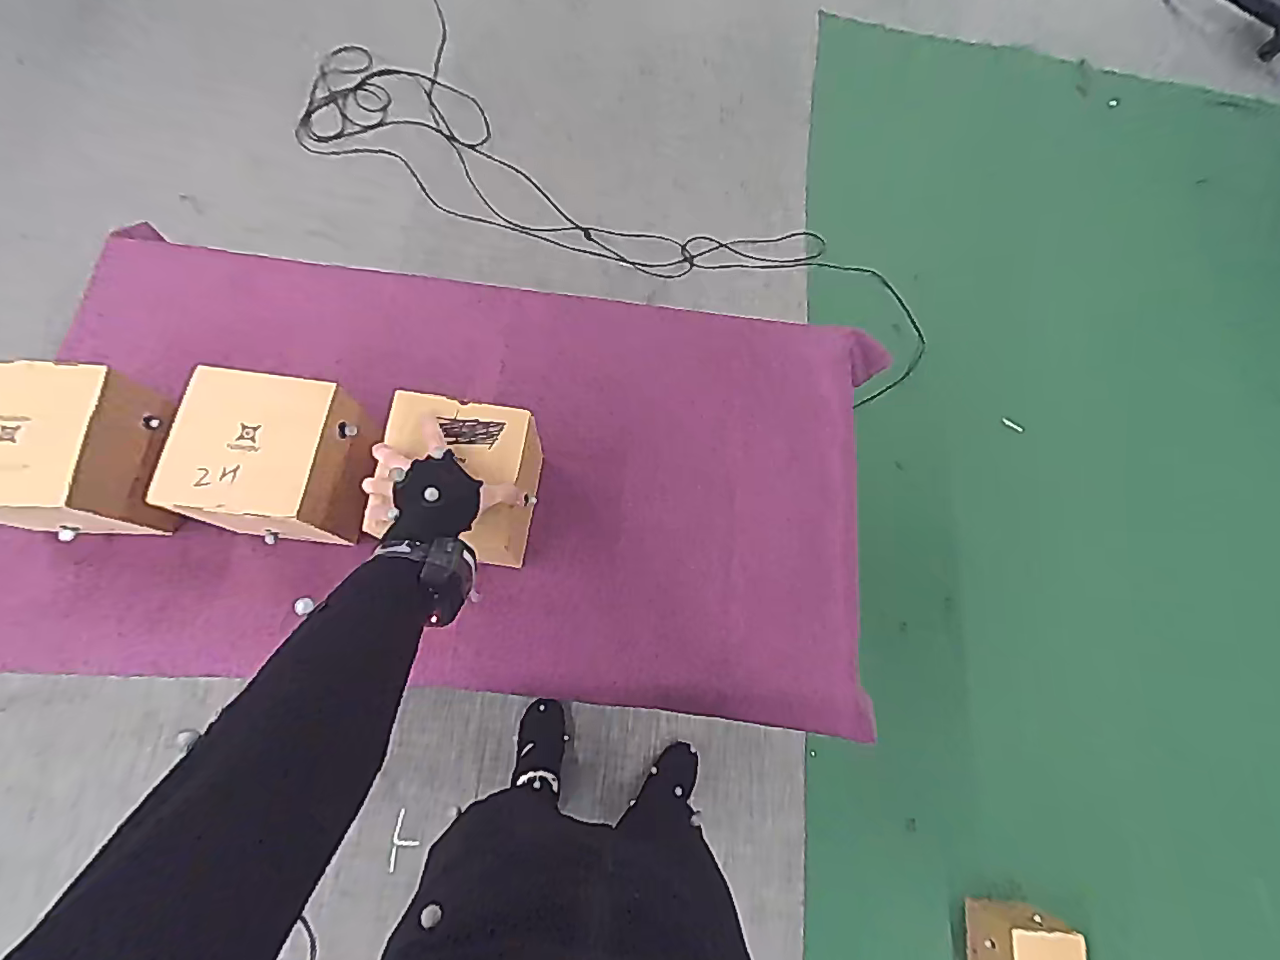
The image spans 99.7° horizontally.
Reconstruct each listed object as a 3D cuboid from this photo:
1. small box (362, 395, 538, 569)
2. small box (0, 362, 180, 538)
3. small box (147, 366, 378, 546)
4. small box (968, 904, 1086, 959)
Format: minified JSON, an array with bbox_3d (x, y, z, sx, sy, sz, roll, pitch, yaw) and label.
[{"bbox_3d":[-0.234,0.012,0.718,0.168,0.176,0.179,9,74,-3],"label":"small box"},{"bbox_3d":[-0.715,-0.031,0.684,0.168,0.176,0.179,2,74,-4],"label":"small box"},{"bbox_3d":[-0.466,-0.022,0.705,0.168,0.176,0.179,7,73,-3],"label":"small box"},{"bbox_3d":[0.892,1.121,1.255,0.179,0.176,0.168,8,72,-4],"label":"small box"}]
